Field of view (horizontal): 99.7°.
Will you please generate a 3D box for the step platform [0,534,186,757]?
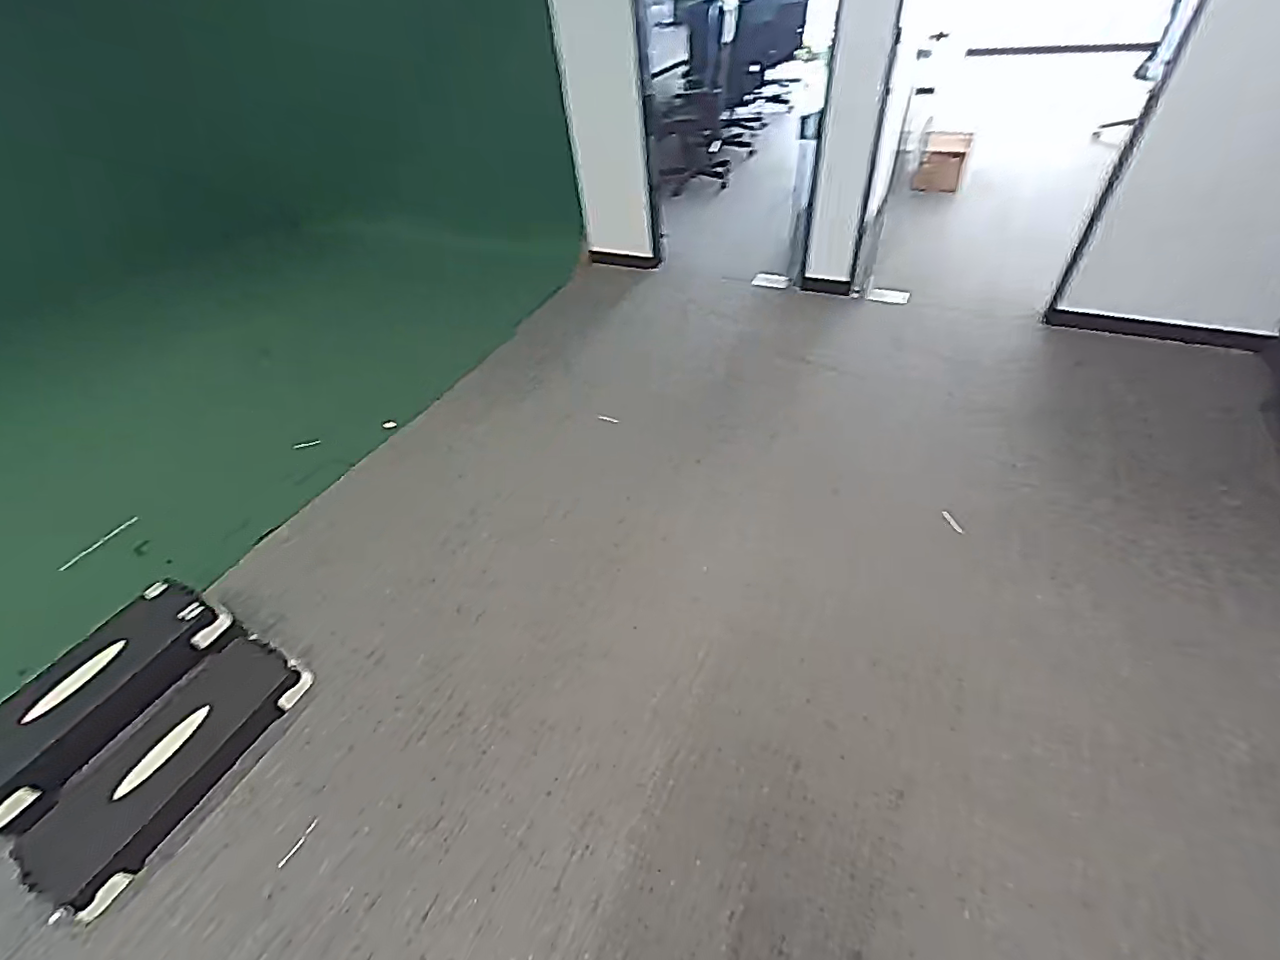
[{"bbox_3d":[-1.627,0.472,1.427,0.286,0.204,0.684,18,51,22],"label":"step platform"}]
